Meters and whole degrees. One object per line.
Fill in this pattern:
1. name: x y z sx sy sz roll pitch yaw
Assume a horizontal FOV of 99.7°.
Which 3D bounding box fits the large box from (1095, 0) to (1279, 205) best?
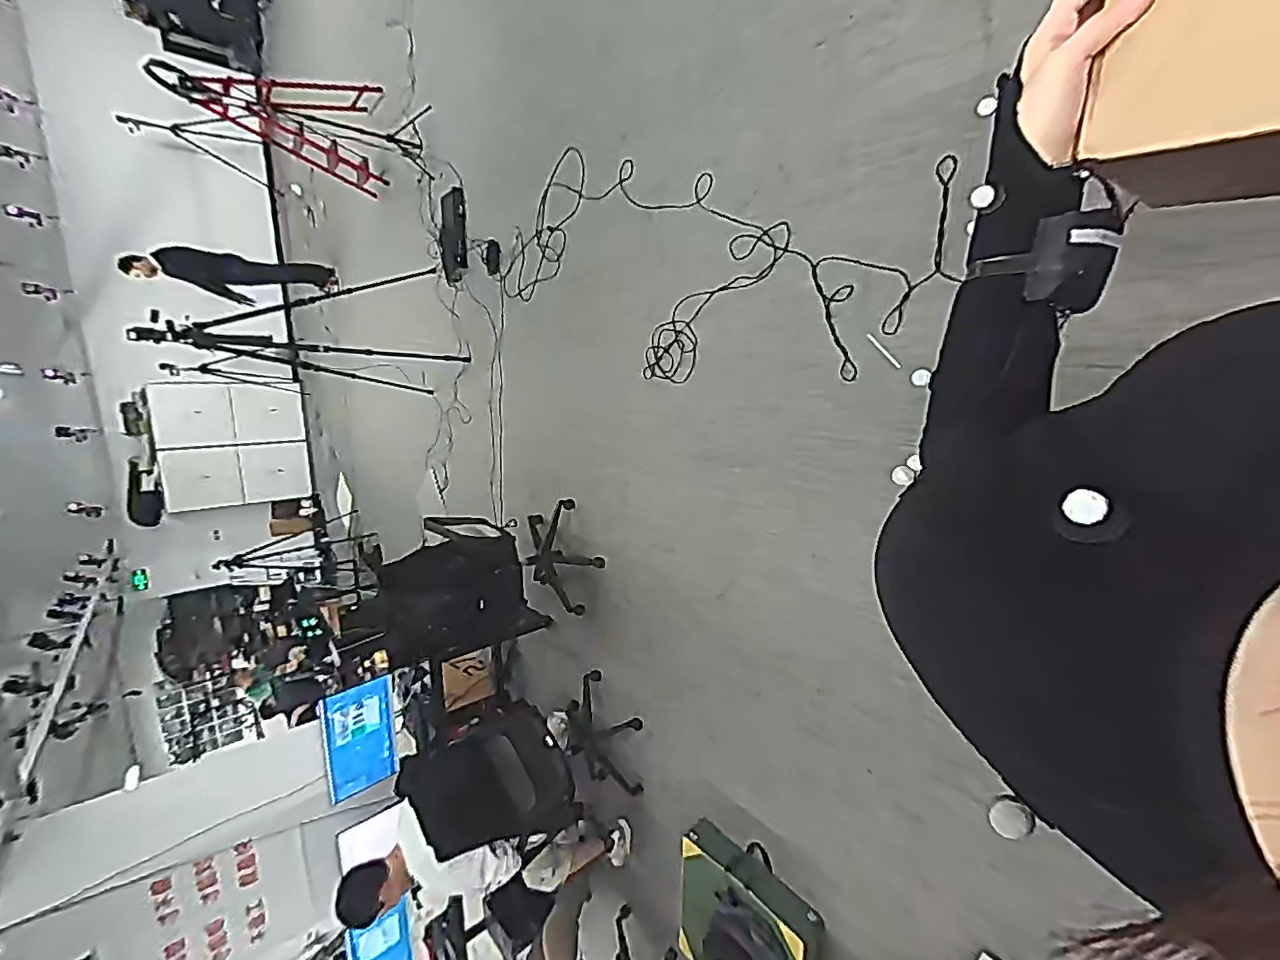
1. large box: 0.555 -0.369 0.294 0.408 0.320 0.320 16 115 45
